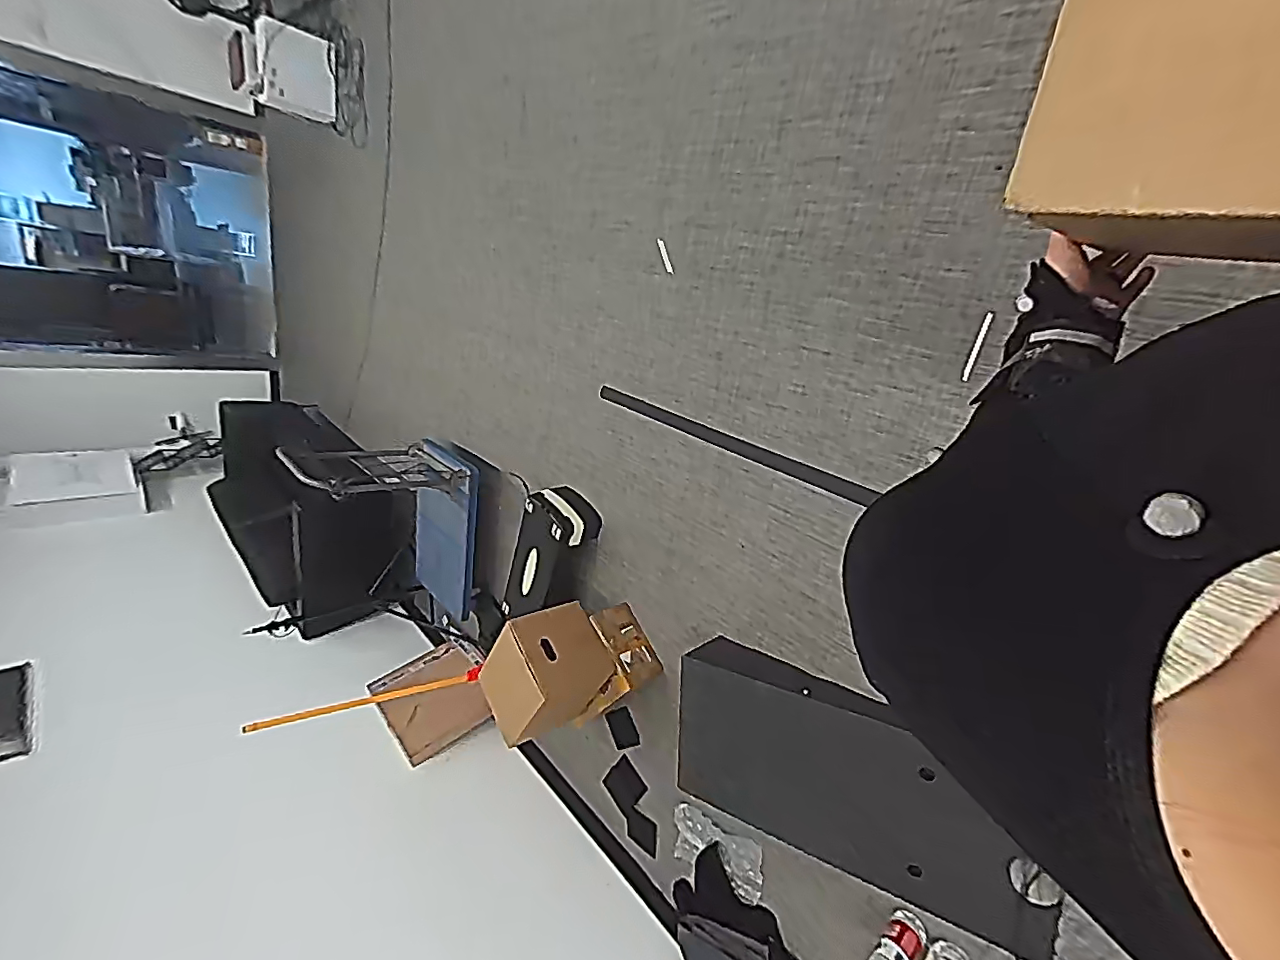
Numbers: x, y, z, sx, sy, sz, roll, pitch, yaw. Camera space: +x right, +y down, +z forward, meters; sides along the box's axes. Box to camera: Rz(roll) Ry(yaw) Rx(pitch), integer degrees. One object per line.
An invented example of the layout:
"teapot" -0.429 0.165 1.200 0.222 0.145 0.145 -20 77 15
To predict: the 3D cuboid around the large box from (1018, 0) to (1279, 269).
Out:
"large box" 0.486 -0.268 0.252 0.408 0.320 0.320 26 120 41
